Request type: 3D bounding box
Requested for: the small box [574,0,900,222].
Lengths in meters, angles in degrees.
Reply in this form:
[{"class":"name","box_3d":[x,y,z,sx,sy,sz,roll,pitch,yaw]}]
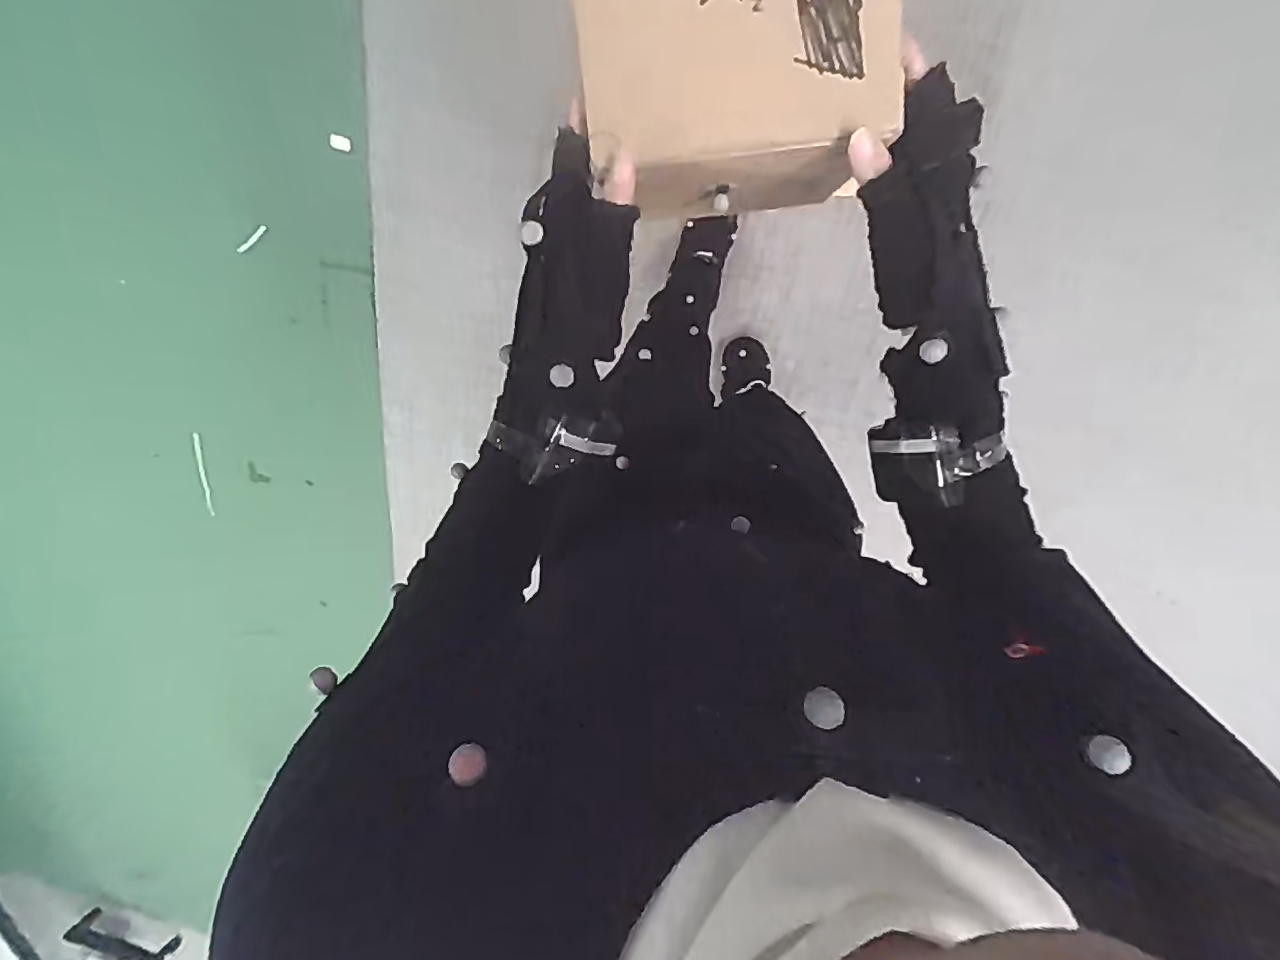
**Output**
[{"class":"small box","box_3d":[0.056,-0.286,0.367,0.179,0.176,0.168,-4,104,6]}]
